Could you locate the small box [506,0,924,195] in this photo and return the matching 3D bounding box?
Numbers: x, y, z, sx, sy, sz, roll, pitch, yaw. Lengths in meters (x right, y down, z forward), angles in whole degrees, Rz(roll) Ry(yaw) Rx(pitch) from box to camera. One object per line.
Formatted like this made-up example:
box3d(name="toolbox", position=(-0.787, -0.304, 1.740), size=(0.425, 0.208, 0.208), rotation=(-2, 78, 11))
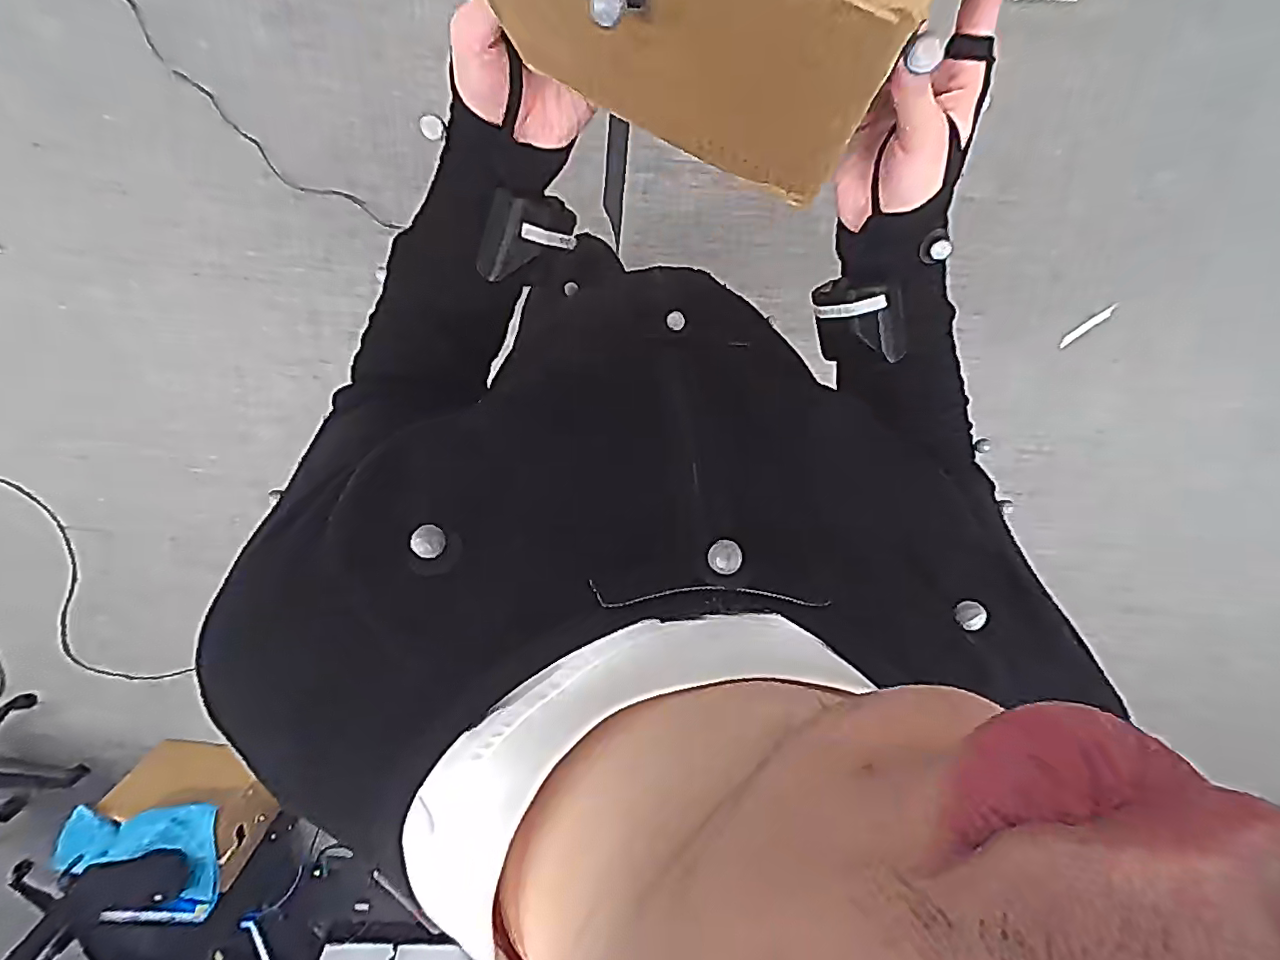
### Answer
box3d(name="small box", position=(0.041, -0.243, 0.209), size=(0.179, 0.176, 0.168), rotation=(27, 104, 2))
